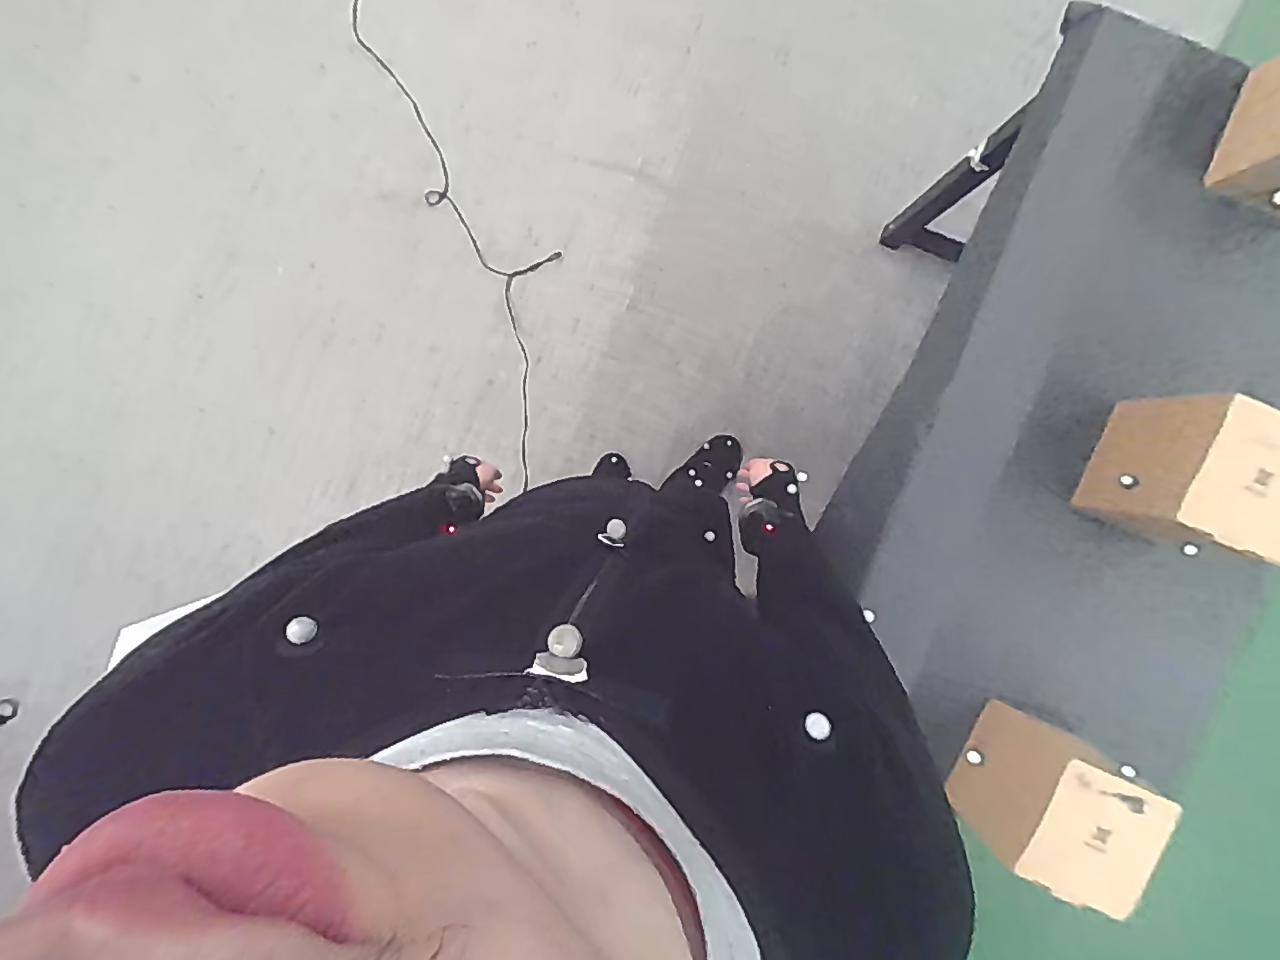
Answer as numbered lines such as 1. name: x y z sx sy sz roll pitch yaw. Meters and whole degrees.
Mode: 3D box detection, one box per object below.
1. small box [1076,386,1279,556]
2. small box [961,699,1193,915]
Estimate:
1. small box: 0.777 -0.013 0.766 0.168 0.176 0.179 21 91 -5
2. small box: 0.608 0.457 0.781 0.168 0.176 0.179 23 92 -4
